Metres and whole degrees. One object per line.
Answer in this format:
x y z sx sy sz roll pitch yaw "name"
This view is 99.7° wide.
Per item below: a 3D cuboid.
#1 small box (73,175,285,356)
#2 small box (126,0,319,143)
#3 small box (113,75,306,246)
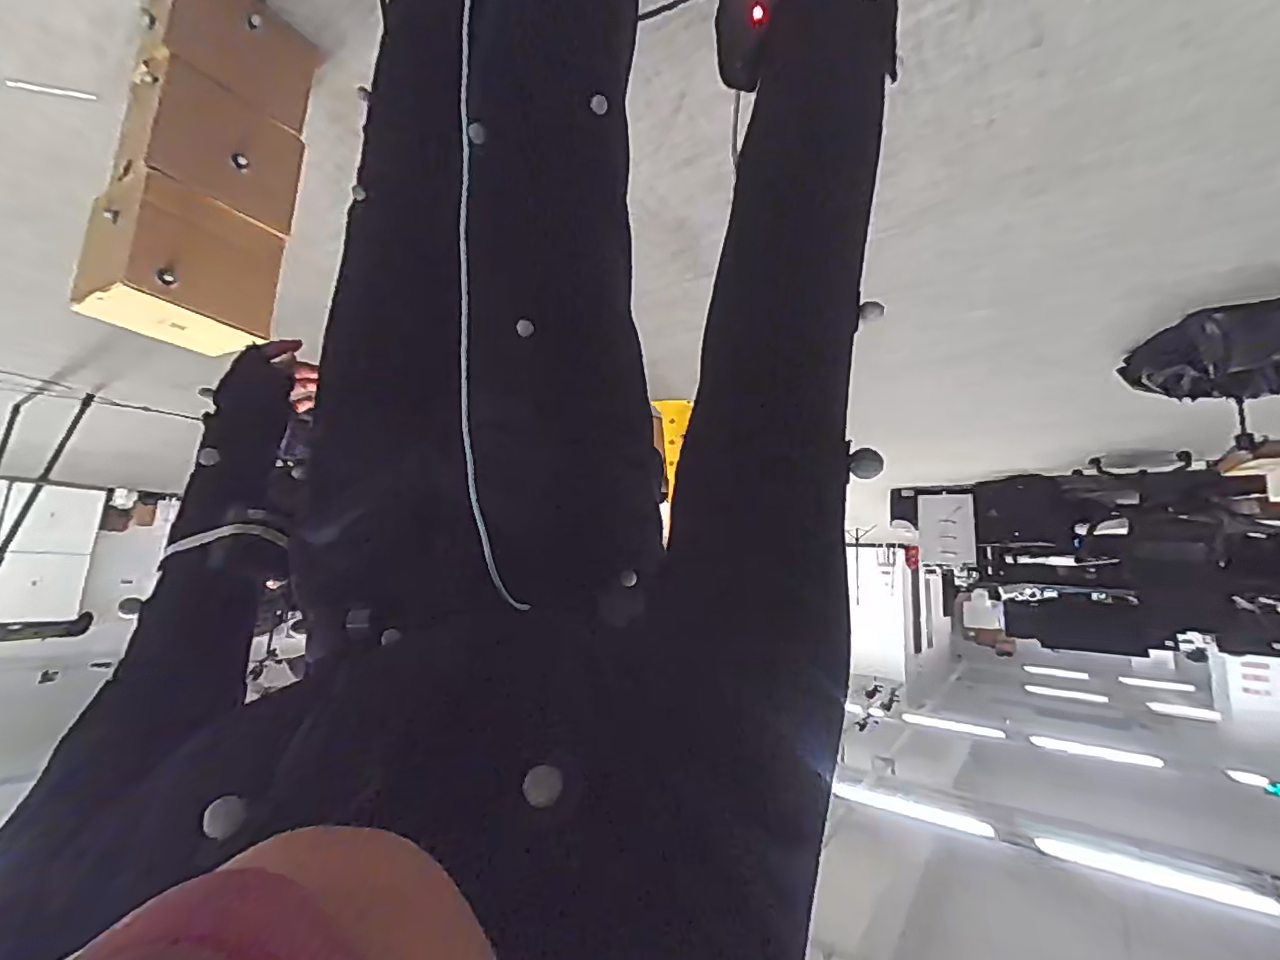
-0.659 -0.300 0.789 0.168 0.176 0.179 -2 168 27 "small box"
-0.635 -0.623 0.834 0.168 0.176 0.179 -3 167 32 "small box"
-0.641 -0.460 0.814 0.168 0.176 0.179 -3 169 32 "small box"
